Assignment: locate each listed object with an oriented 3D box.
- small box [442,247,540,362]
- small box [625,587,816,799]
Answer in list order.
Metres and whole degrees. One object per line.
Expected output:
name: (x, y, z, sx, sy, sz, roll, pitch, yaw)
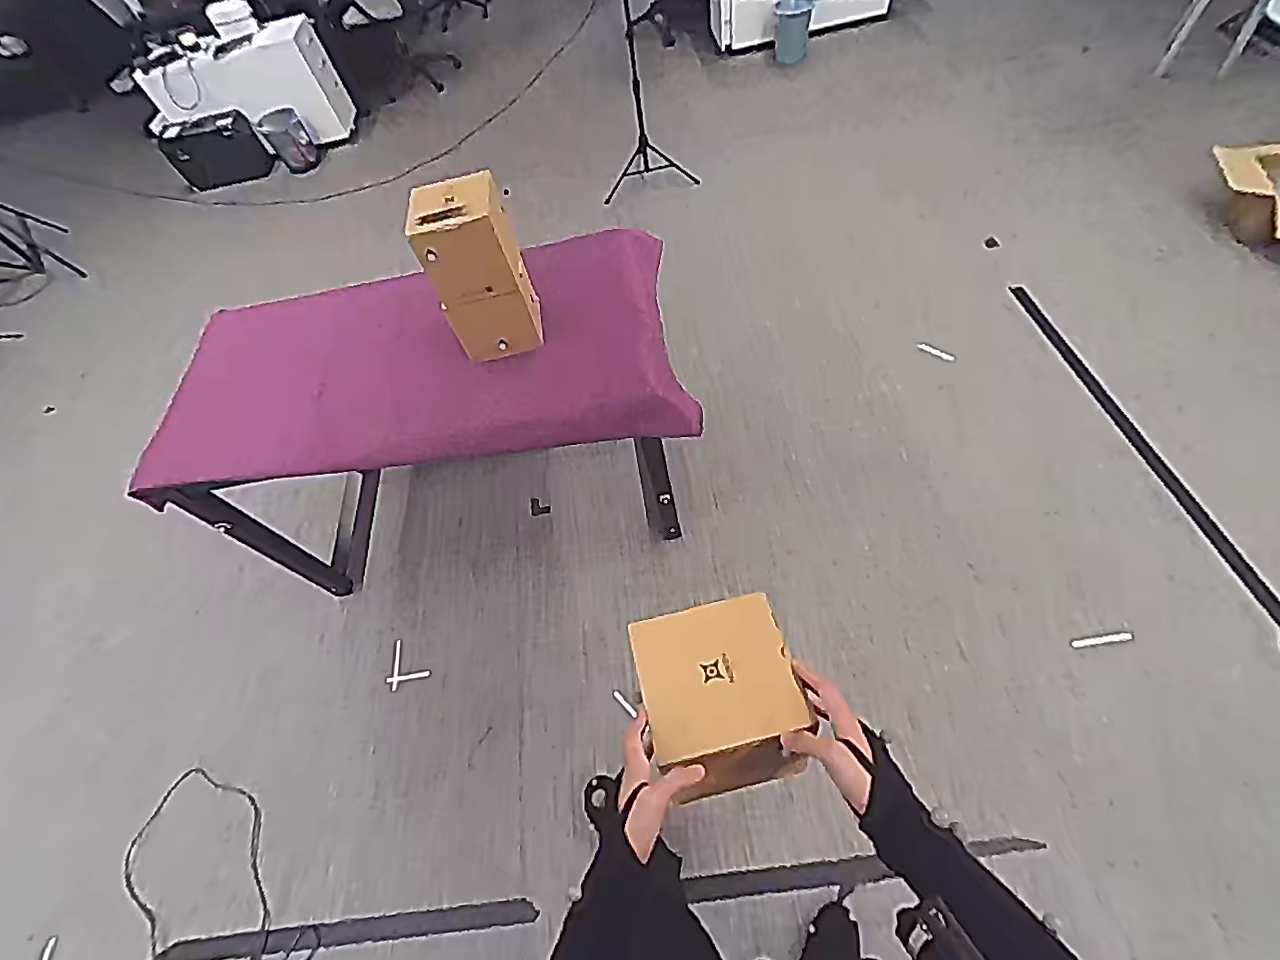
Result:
small box: (-0.334, -0.399, 1.245, 0.179, 0.176, 0.168, -13, 56, 1)
small box: (0.091, 0.261, 0.654, 0.179, 0.176, 0.168, -13, 46, -4)
